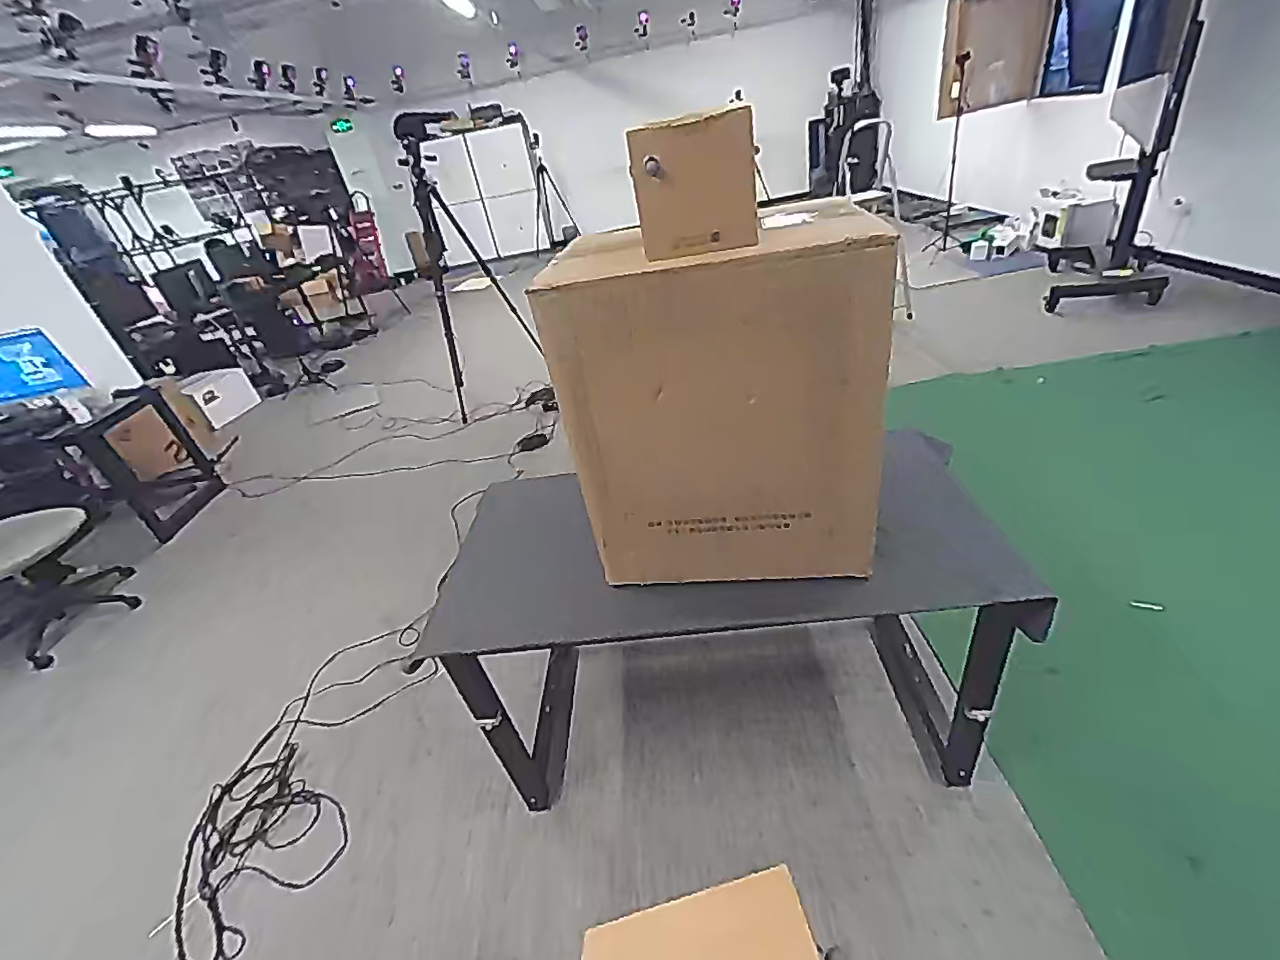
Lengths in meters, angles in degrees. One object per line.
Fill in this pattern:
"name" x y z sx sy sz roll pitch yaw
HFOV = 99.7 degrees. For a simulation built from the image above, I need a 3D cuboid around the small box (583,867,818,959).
"small box" 0.060 0.407 0.342 0.168 0.176 0.179 -19 5 2
